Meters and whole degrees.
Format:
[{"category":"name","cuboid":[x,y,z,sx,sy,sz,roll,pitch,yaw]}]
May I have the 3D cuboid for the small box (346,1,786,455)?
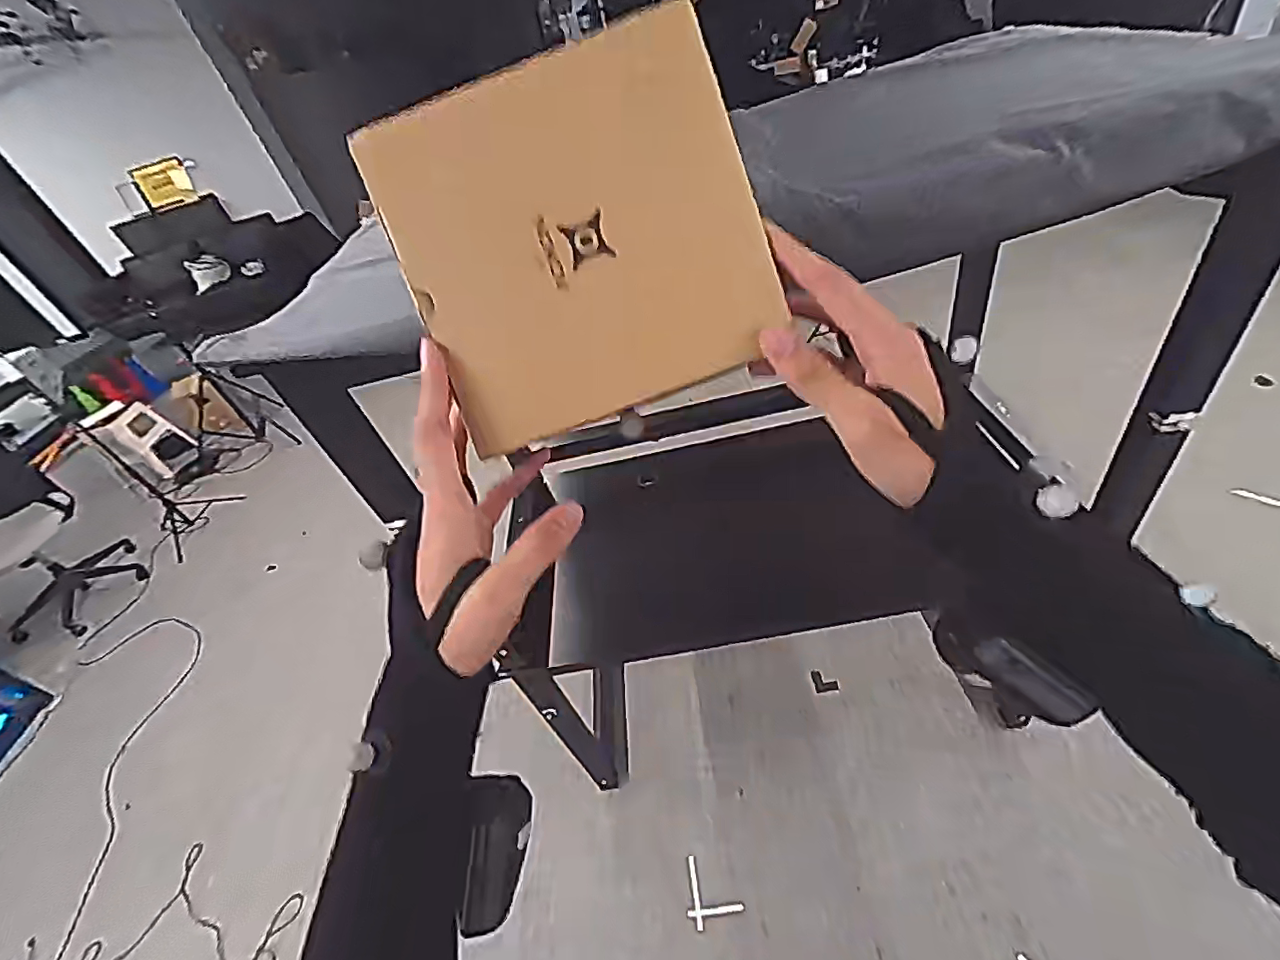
[{"category":"small box","cuboid":[-0.033,-0.129,0.342,0.179,0.168,0.176,-20,8,5]}]
